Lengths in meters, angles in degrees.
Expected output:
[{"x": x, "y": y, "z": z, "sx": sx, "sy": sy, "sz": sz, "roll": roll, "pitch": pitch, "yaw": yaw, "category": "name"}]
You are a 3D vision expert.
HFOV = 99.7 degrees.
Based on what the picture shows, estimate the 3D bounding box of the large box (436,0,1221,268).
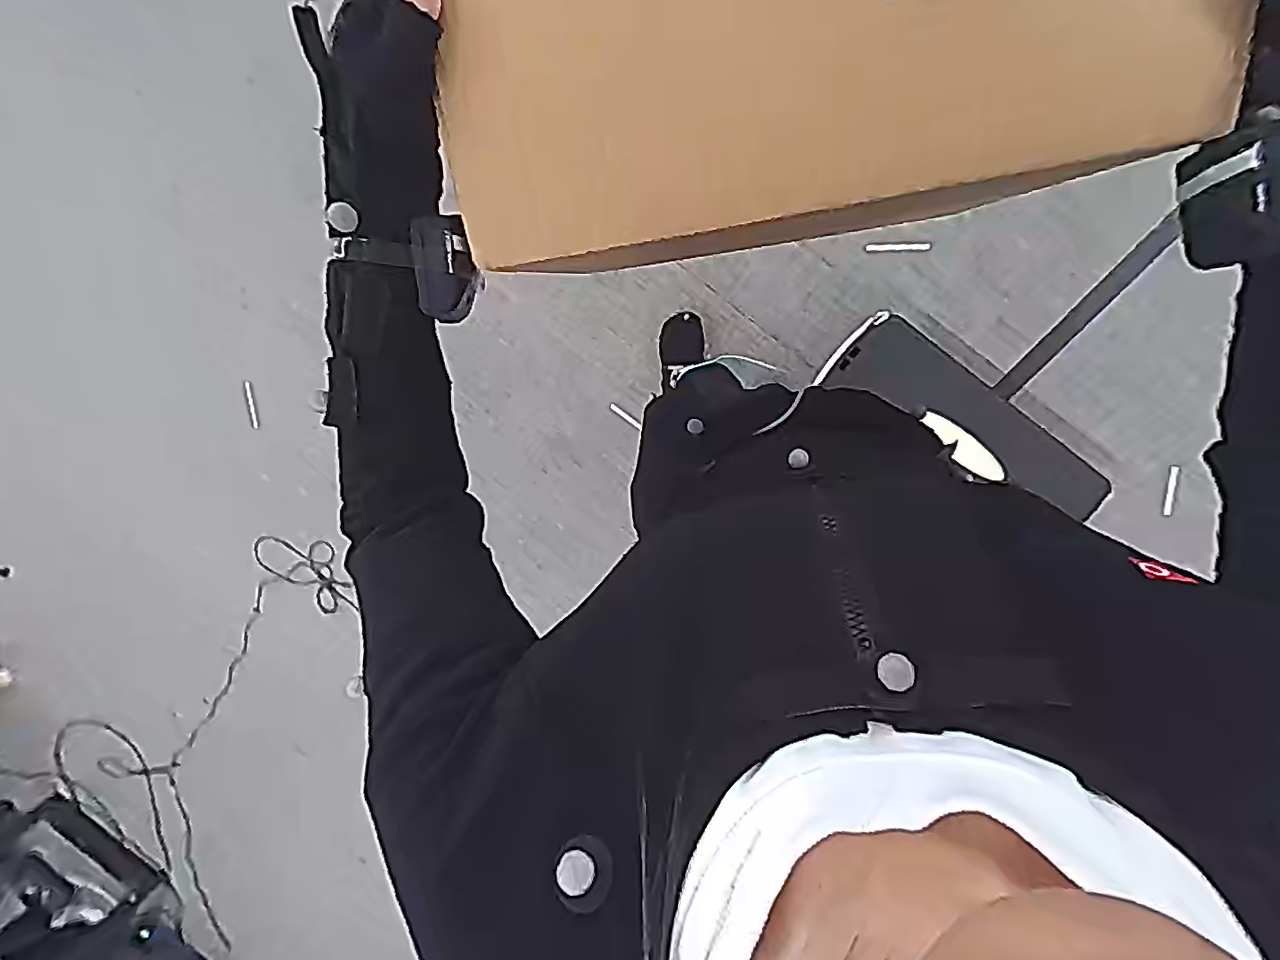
[{"x": 0.092, "y": -0.360, "z": 0.406, "sx": 0.408, "sy": 0.320, "sz": 0.320, "roll": -6, "pitch": 110, "yaw": 9, "category": "large box"}]
